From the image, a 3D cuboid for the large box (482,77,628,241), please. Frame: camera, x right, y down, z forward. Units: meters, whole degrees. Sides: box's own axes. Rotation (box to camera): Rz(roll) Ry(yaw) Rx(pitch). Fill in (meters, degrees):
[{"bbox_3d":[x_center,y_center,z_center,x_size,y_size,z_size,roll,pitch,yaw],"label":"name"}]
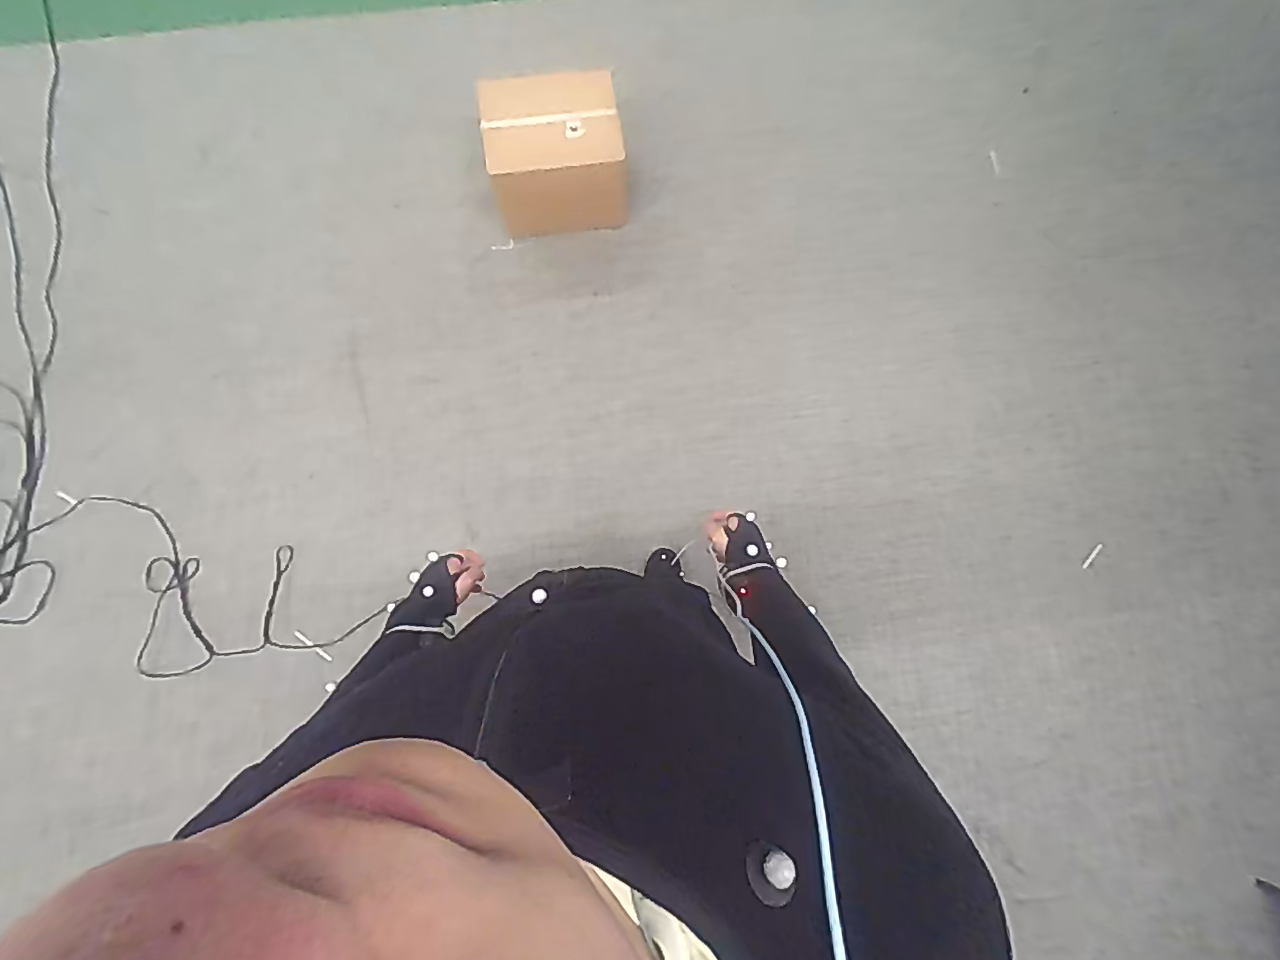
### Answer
[{"bbox_3d":[-0.260,-1.011,1.734,0.408,0.320,0.320,-8,80,-4],"label":"large box"}]
